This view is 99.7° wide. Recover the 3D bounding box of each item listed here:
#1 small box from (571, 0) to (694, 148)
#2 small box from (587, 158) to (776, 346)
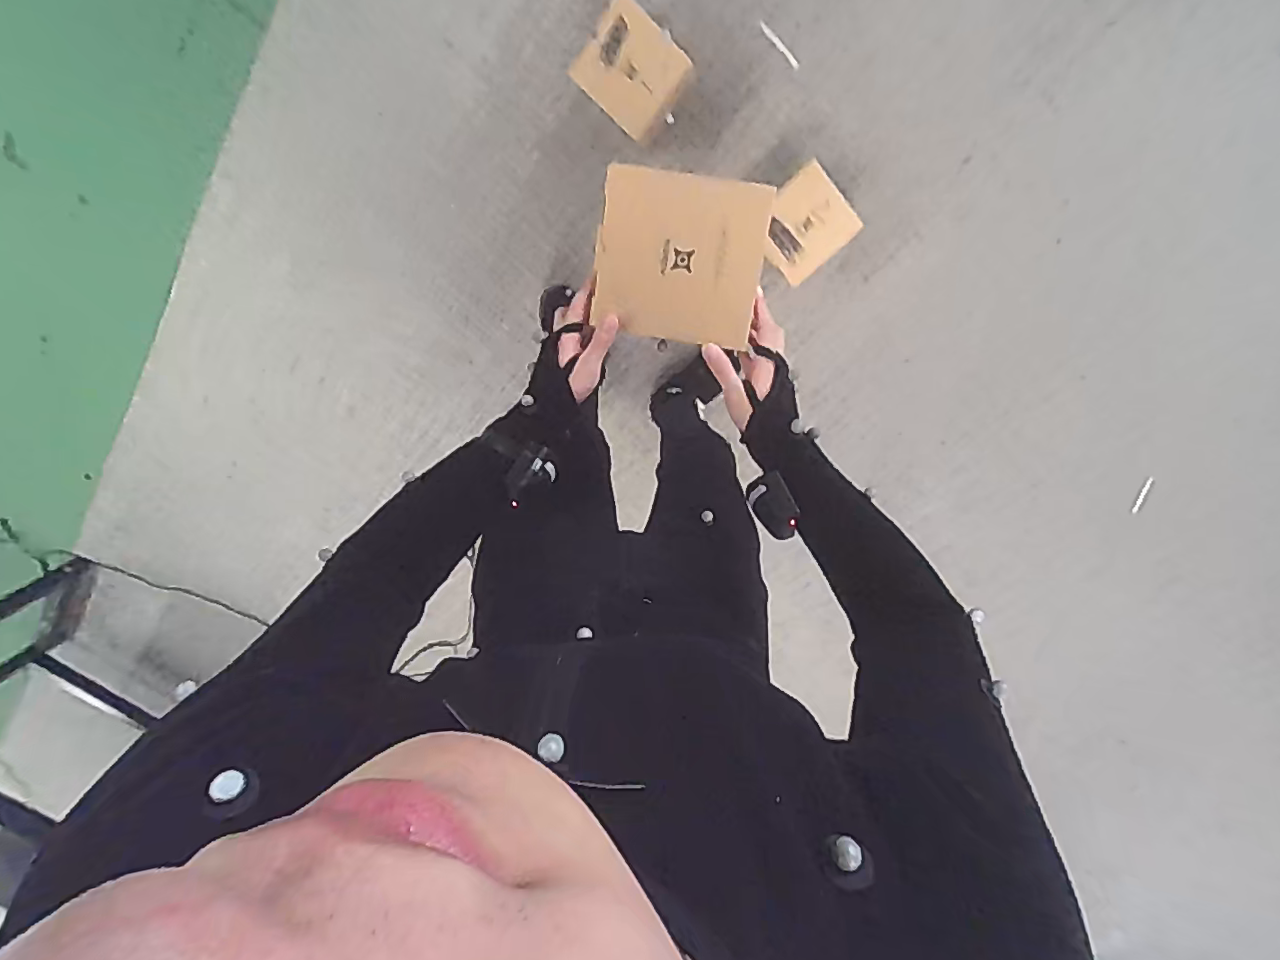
[{"bbox_3d":[-0.008,-0.805,1.092,0.179,0.176,0.168,39,115,-12],"label":"small box"},{"bbox_3d":[0.044,-0.254,0.640,0.179,0.176,0.168,9,105,0],"label":"small box"}]
